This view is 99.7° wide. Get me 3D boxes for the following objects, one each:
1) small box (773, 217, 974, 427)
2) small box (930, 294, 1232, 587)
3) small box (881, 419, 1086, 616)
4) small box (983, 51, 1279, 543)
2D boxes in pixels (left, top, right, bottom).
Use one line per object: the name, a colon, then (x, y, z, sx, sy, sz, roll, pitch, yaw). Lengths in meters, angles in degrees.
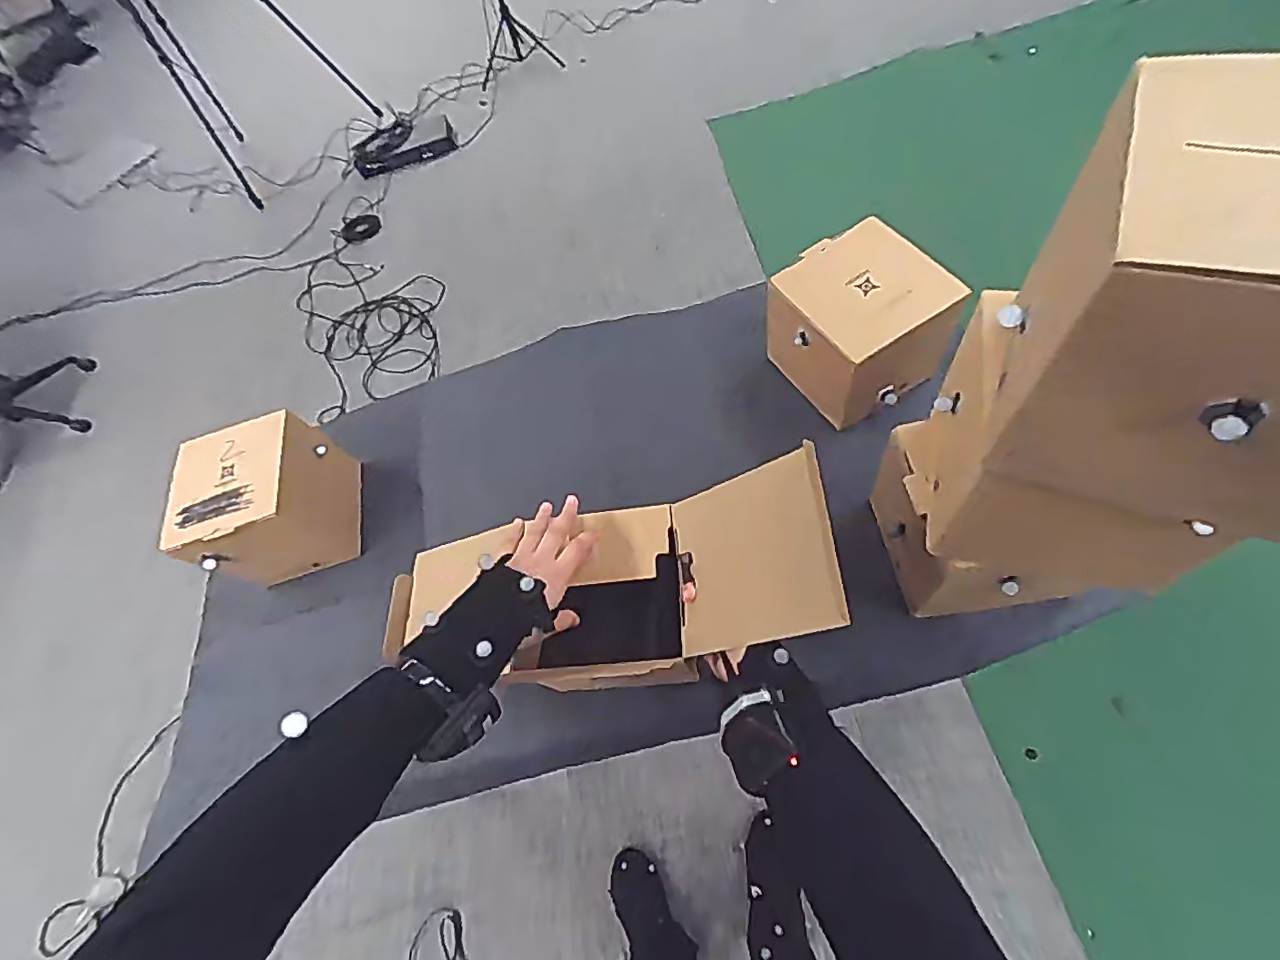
small box: (0.294, -0.204, 0.729, 0.168, 0.176, 0.179, -31, 63, -1)
small box: (0.350, -0.026, 0.438, 0.179, 0.176, 0.168, 9, 63, 17)
small box: (0.377, 0.039, 0.586, 0.179, 0.176, 0.168, -11, 59, 8)
small box: (0.319, -0.085, 0.285, 0.179, 0.176, 0.168, 18, 66, 22)
